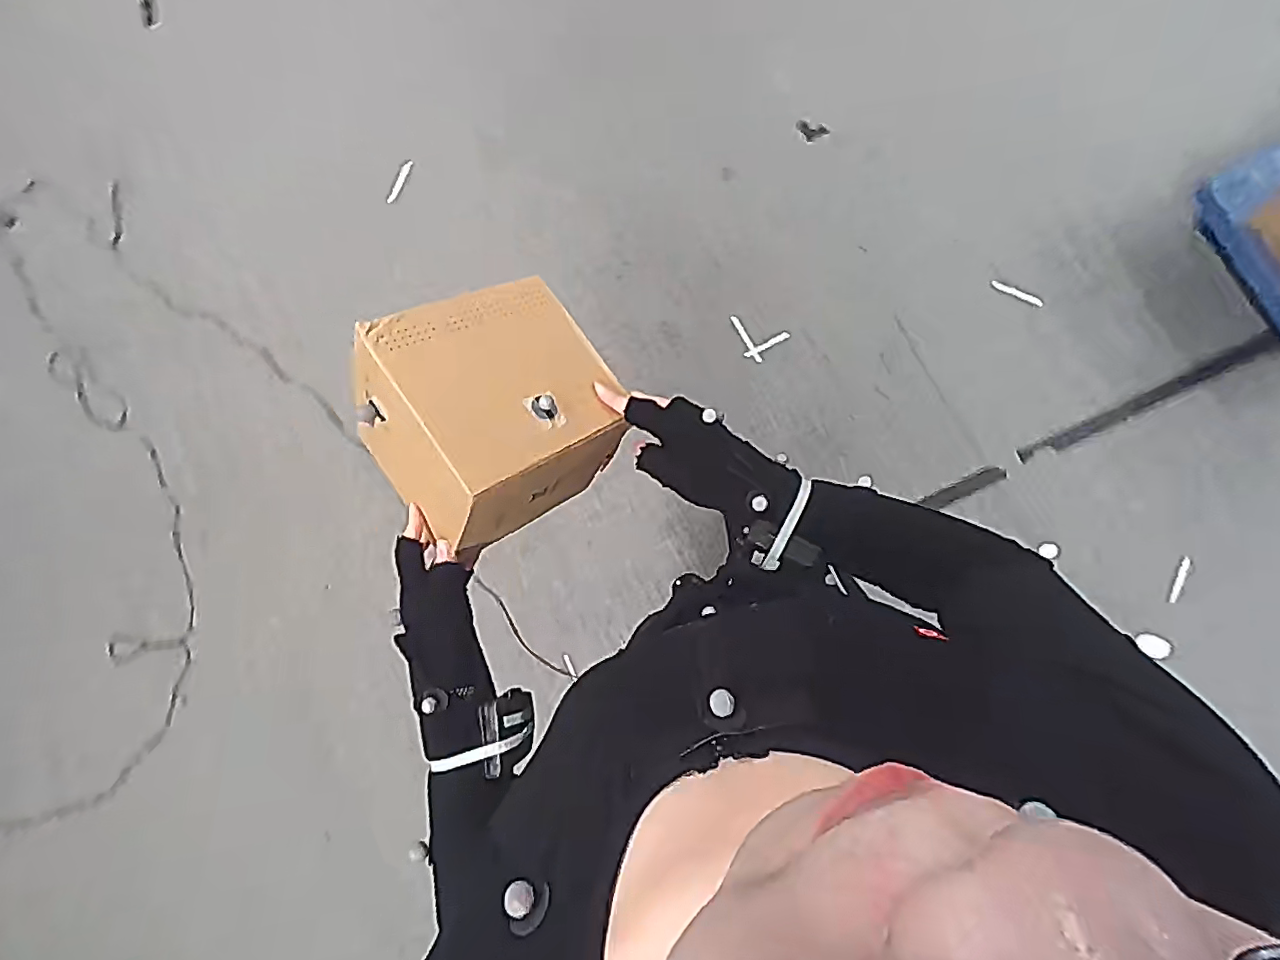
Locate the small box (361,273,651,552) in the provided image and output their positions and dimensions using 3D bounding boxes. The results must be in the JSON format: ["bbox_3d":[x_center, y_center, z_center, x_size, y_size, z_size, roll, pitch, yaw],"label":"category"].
[{"bbox_3d":[-0.129,-0.066,0.503,0.179,0.168,0.176,-30,81,-35],"label":"small box"}]

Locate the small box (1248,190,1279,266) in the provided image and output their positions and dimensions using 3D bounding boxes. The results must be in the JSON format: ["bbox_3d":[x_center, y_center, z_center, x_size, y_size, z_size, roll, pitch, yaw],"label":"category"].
[{"bbox_3d":[1.539,-0.613,1.206,0.179,0.176,0.168,-29,84,1],"label":"small box"}]
